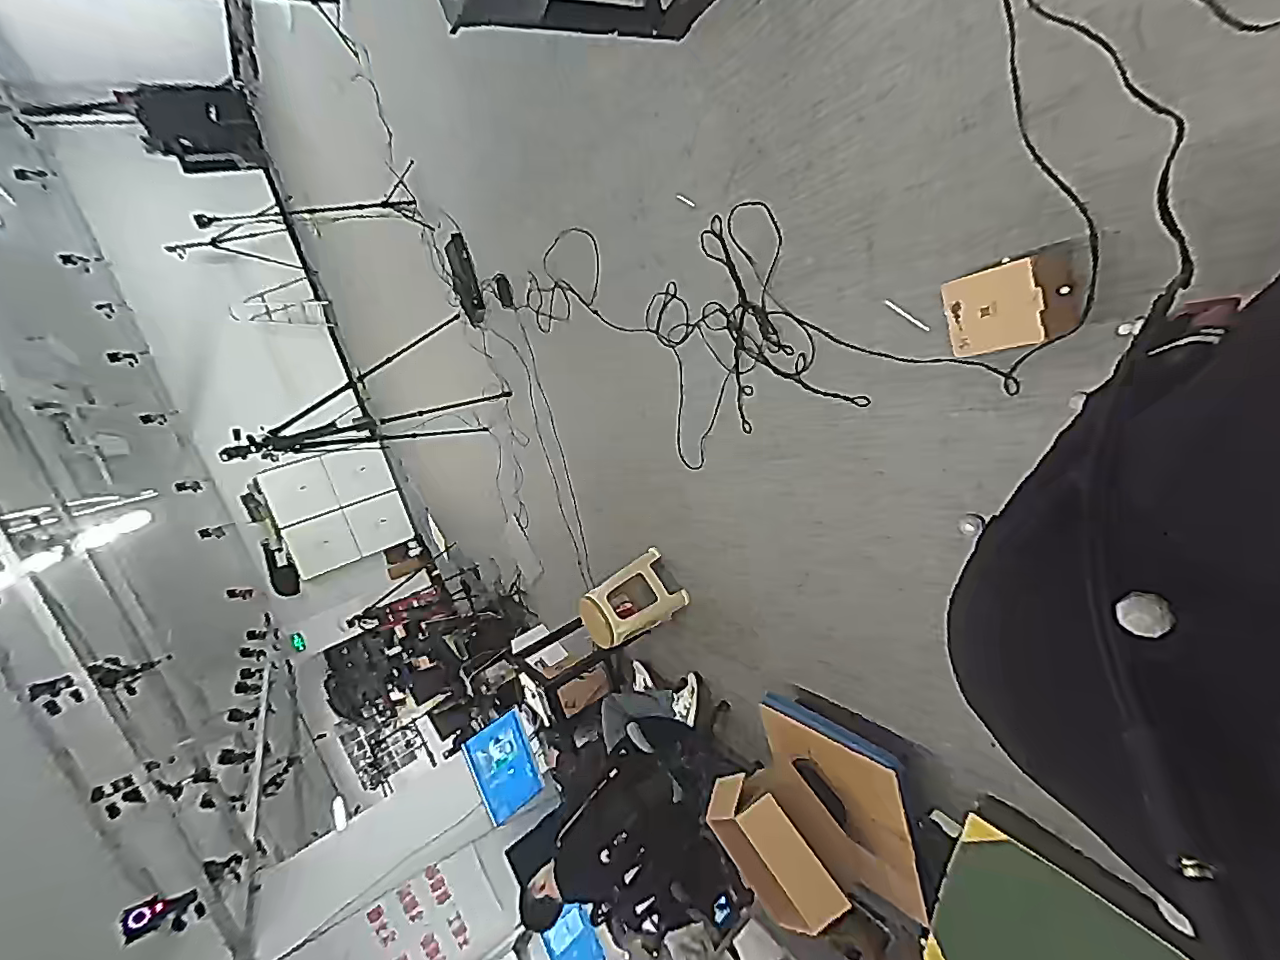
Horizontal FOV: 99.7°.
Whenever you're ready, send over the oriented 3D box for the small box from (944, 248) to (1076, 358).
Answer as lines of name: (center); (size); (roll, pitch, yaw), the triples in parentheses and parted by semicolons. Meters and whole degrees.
small box: (0.780, -0.370, 1.134); (0.179, 0.176, 0.168); (0, 110, 58)
